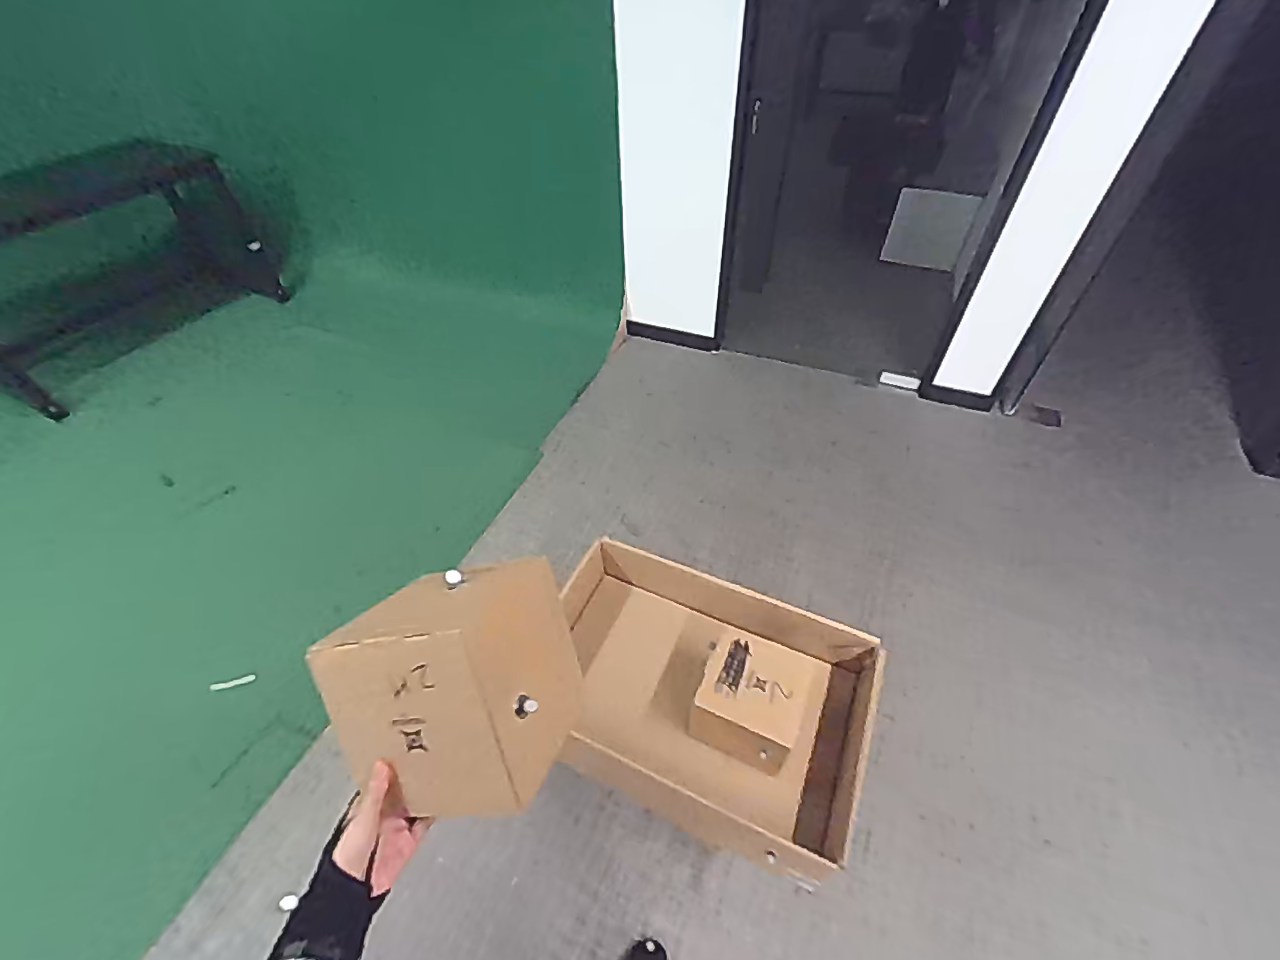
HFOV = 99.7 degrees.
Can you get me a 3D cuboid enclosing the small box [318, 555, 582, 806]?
[{"bbox_3d":[-0.173,0.193,0.549,0.168,0.179,0.176,-11,8,15],"label":"small box"}]
